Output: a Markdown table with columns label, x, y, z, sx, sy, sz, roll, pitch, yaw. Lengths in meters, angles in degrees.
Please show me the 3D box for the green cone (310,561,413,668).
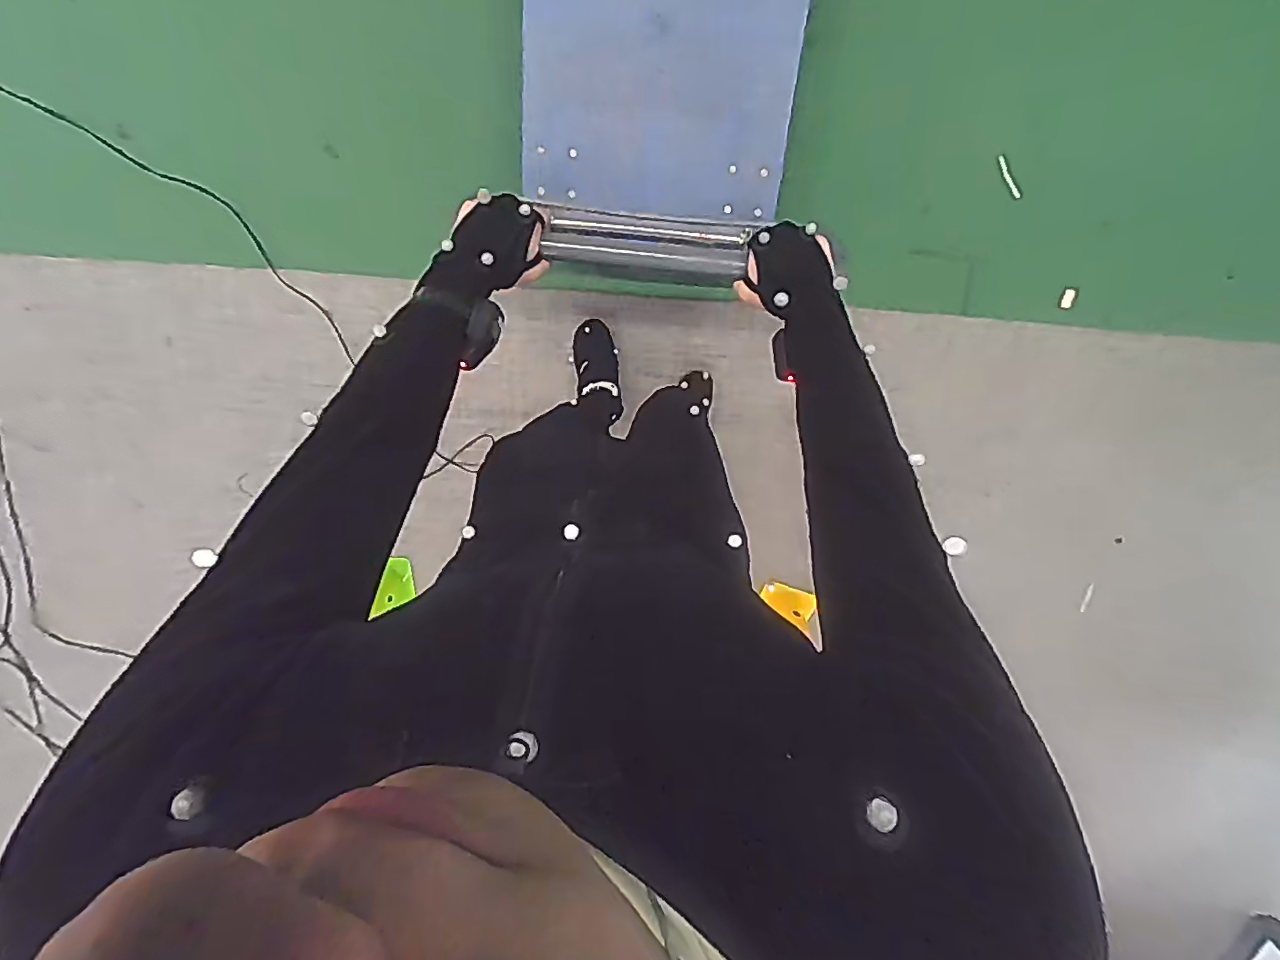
| label | x | y | z | sx | sy | sz | roll | pitch | yaw |
| --- | --- | --- | --- | --- | --- | --- | --- | --- | --- |
| green cone | -0.852 | 0.415 | 1.603 | 0.202 | 0.368 | 0.200 | 0 | 112 | 1 |
